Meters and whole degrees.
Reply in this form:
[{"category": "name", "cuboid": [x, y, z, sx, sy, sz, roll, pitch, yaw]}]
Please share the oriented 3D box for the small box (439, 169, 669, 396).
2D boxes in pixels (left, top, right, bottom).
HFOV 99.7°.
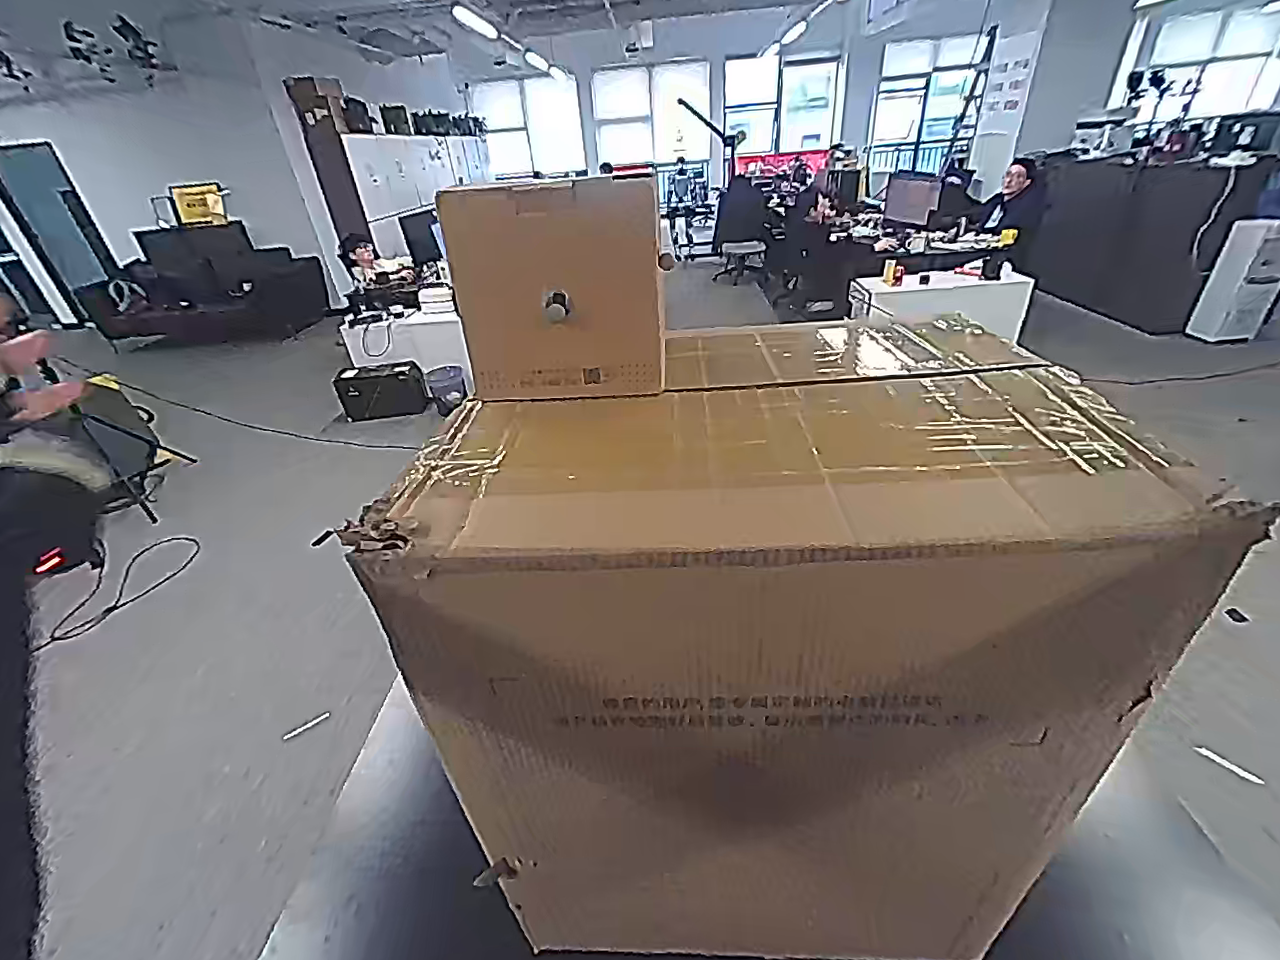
[{"category": "small box", "cuboid": [-0.058, -0.183, 0.502, 0.168, 0.176, 0.179, -2, 31, 4]}]
